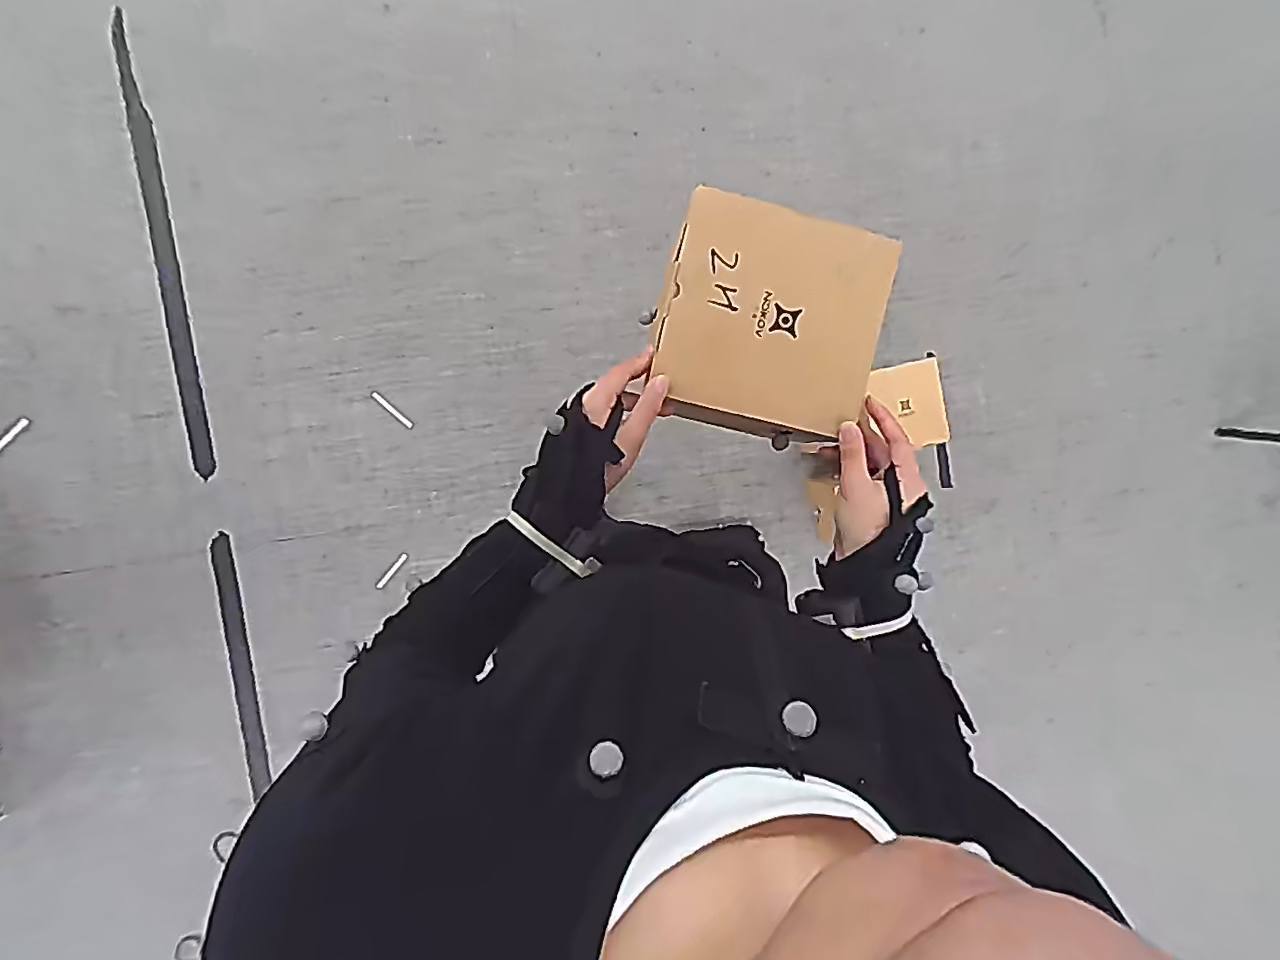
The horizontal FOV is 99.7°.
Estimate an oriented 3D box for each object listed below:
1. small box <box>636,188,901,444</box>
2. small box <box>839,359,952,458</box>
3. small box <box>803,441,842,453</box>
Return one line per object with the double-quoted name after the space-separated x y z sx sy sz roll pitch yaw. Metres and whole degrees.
0.101 -0.134 0.507 0.179 0.176 0.168 13 93 -5 "small box"
0.533 -0.148 1.171 0.168 0.176 0.179 -13 95 -5 "small box"
0.510 -0.154 1.332 0.179 0.176 0.168 -6 94 -6 "small box"
